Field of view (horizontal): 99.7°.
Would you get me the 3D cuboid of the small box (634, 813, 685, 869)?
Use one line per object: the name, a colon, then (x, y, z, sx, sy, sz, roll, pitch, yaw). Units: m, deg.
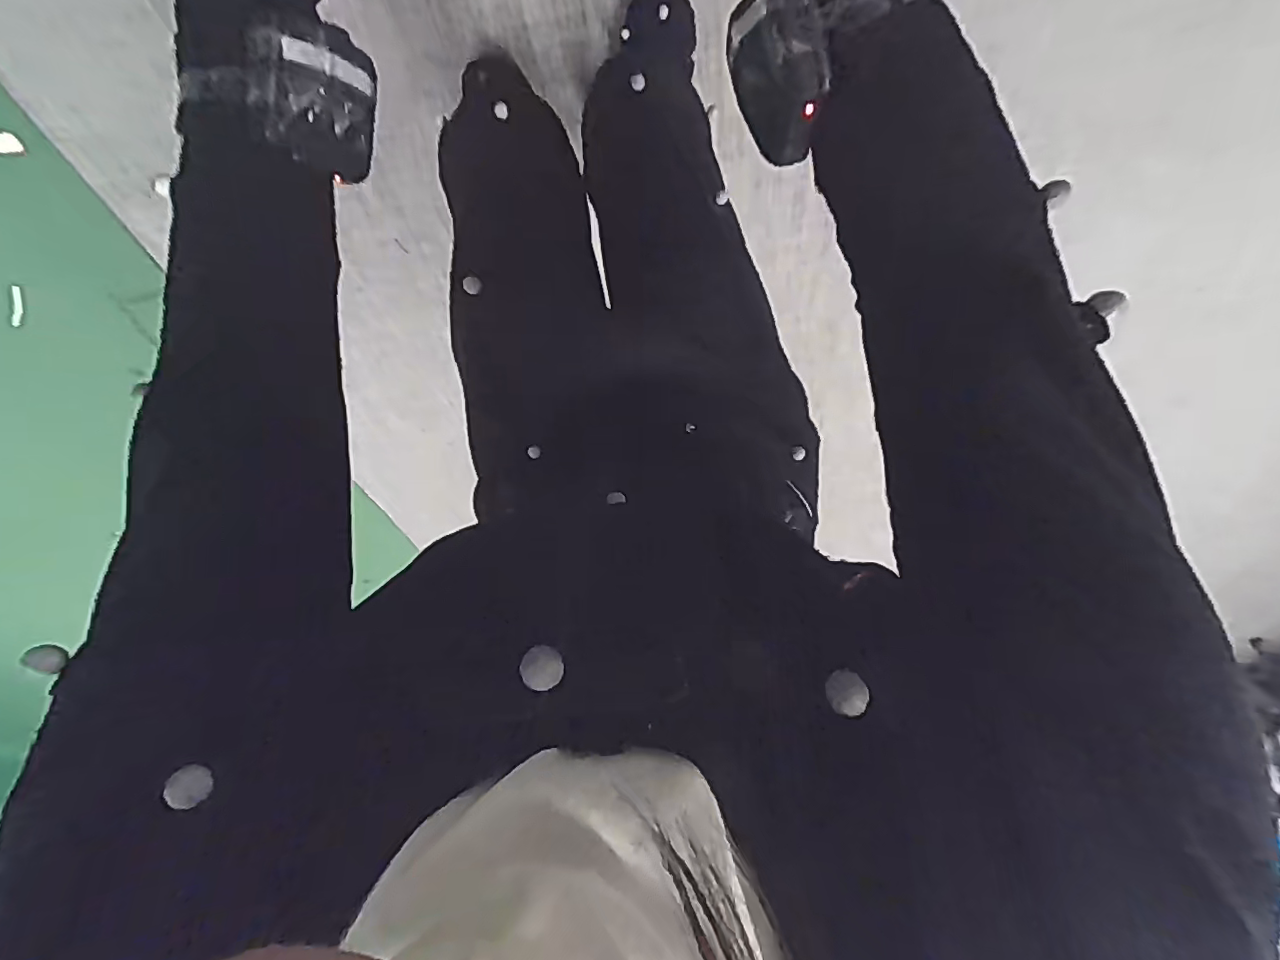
small box: (0.077, 1.430, 2.140, 0.179, 0.176, 0.168, -8, 140, 5)
